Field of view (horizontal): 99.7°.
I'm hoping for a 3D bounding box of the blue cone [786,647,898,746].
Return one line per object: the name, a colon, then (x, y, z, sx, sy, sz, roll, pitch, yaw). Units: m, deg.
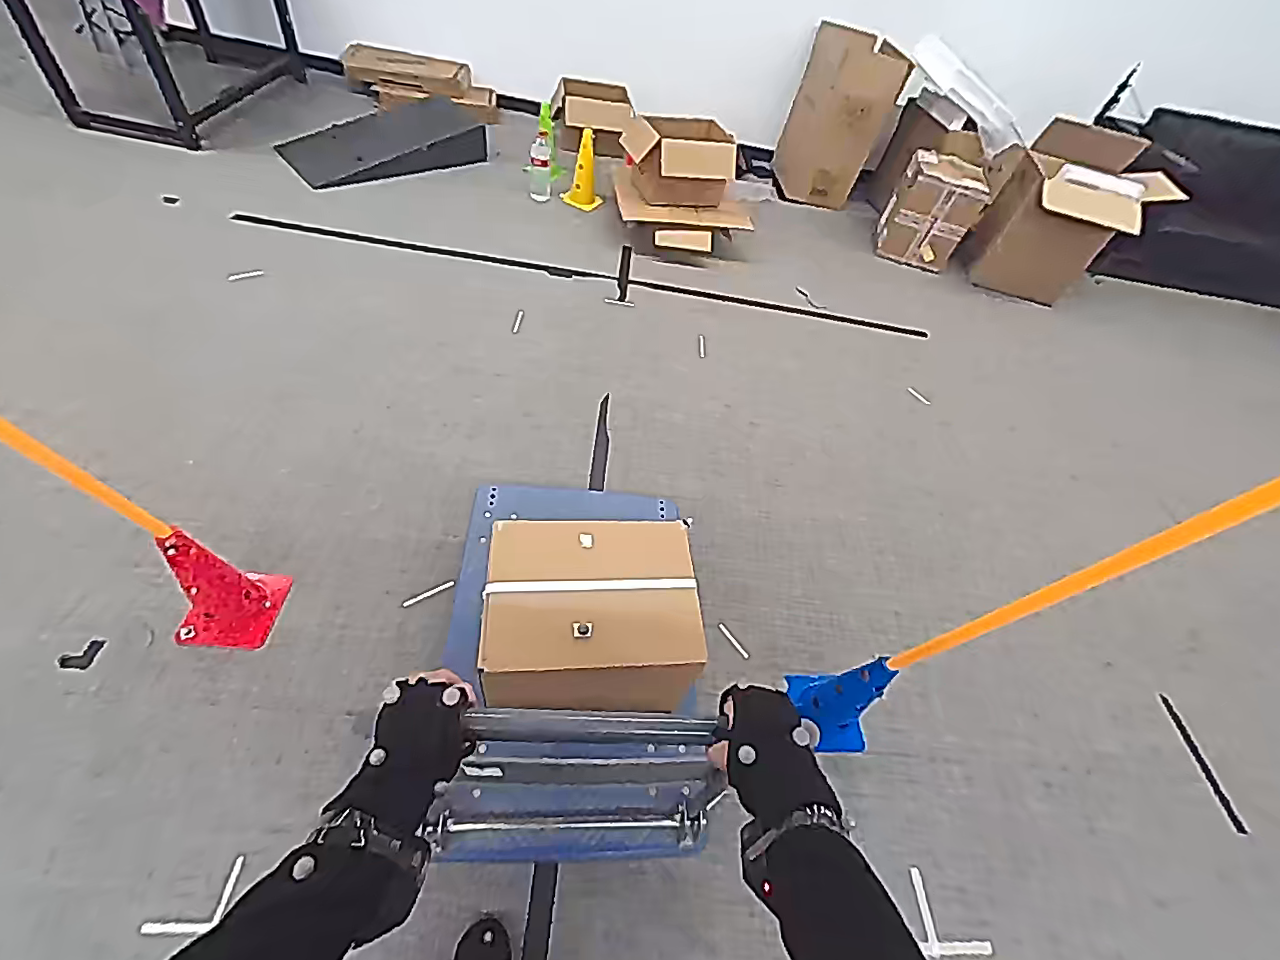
blue cone: (0.529, 0.513, 1.336, 0.193, 0.380, 0.192, 5, 50, -9)
